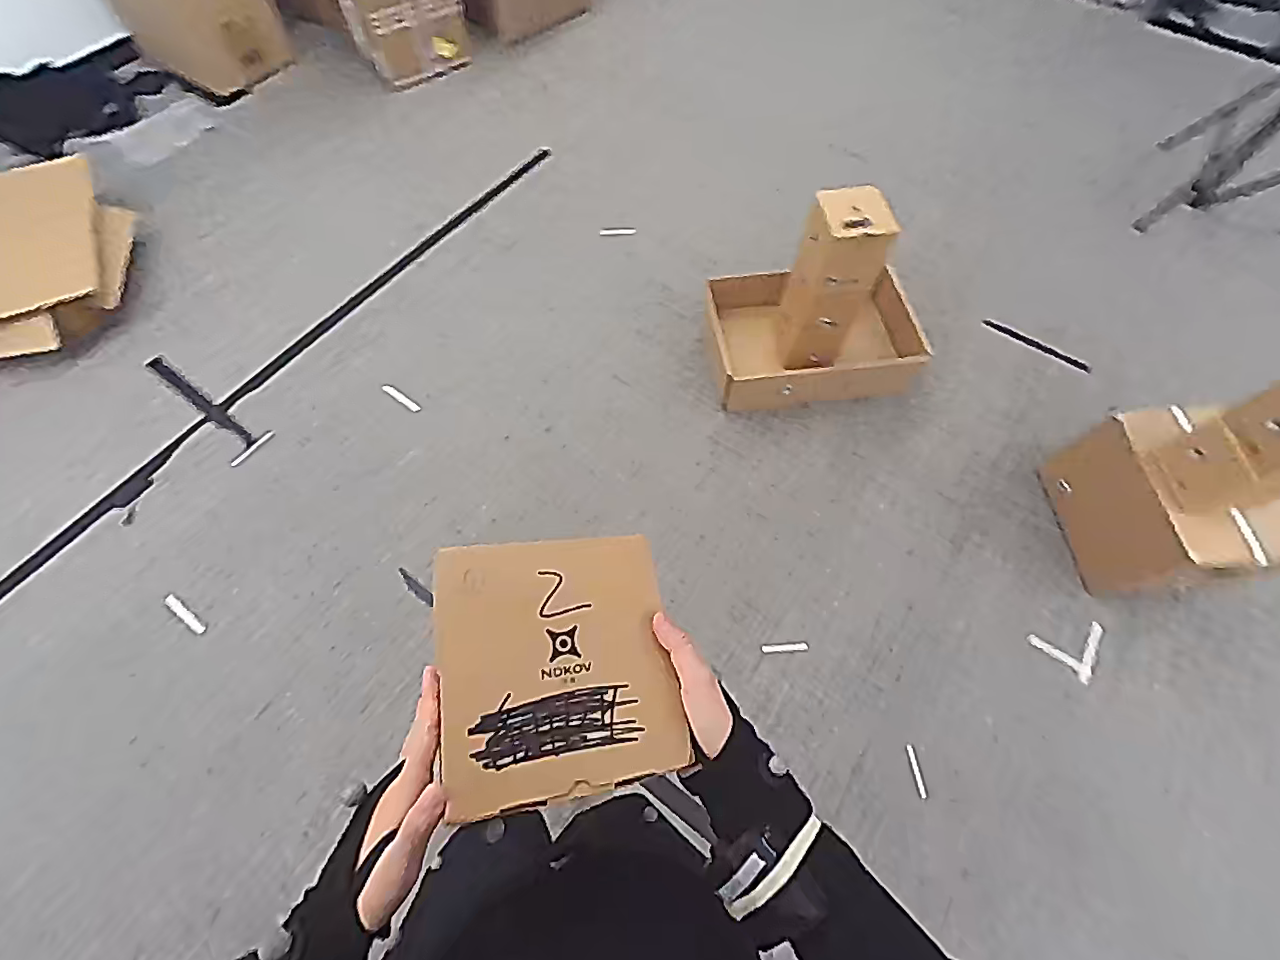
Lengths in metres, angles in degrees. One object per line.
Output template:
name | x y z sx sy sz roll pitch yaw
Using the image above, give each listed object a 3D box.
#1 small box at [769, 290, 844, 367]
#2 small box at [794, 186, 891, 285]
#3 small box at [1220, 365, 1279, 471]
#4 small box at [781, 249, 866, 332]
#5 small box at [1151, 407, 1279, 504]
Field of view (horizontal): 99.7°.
small box | 0.516 -0.481 1.703 0.168 0.176 0.179 -5 64 -3
small box | 0.519 -0.631 1.413 0.168 0.176 0.179 -7 63 -4
small box | 1.332 -0.126 1.074 0.179 0.176 0.168 -3 65 -2
small box | 0.519 -0.554 1.558 0.168 0.176 0.179 -6 65 -3
small box | 1.321 -0.052 1.221 0.179 0.176 0.168 -3 64 -3
